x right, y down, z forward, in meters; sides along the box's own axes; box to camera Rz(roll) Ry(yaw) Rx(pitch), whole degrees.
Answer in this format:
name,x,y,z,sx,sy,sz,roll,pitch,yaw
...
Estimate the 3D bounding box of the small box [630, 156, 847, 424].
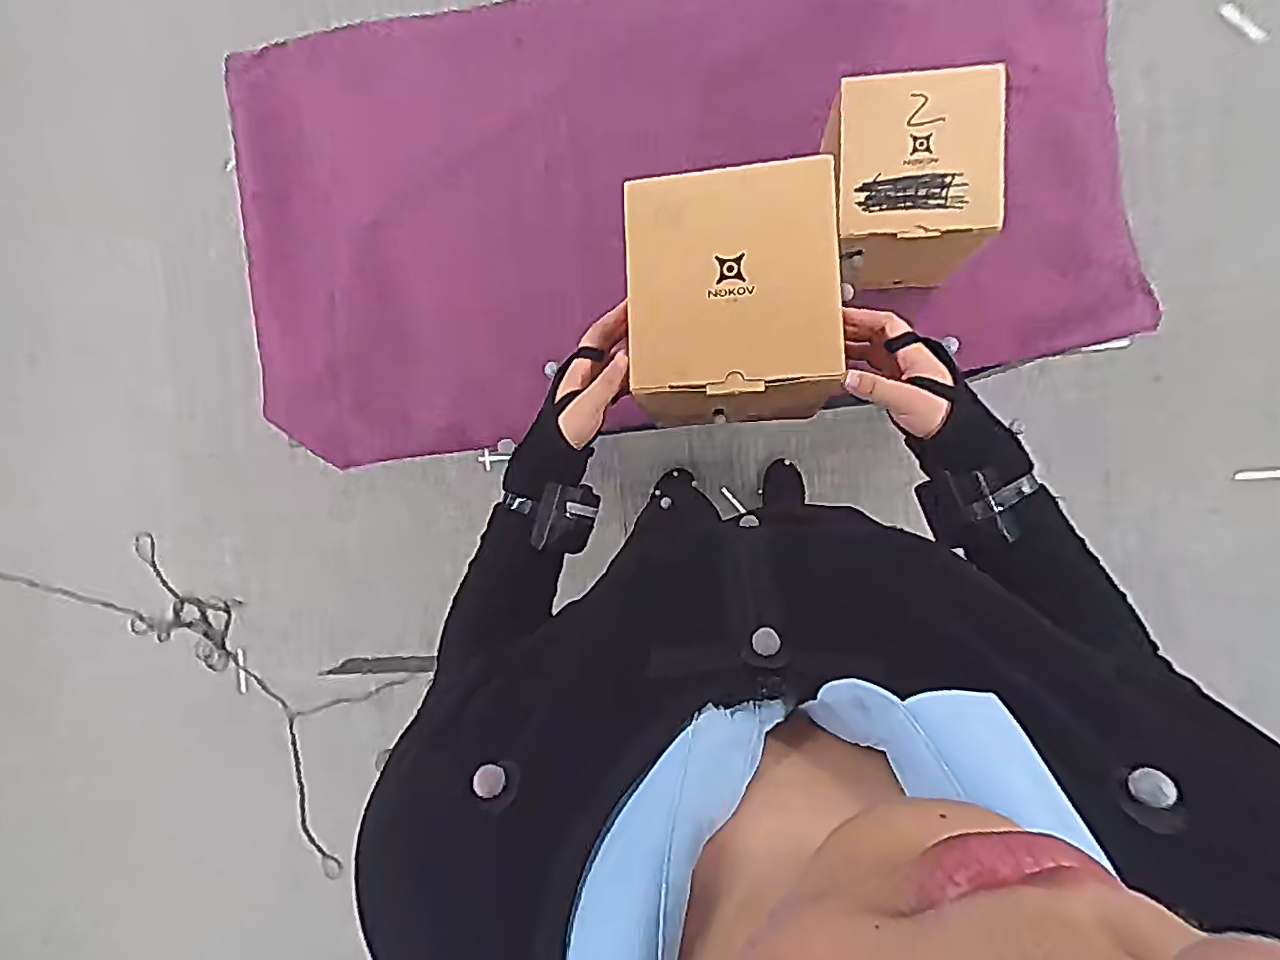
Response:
name,x,y,z,sx,sy,sz,roll,pitch,yaw
small box,0.084,-0.154,0.497,0.168,0.176,0.179,-2,86,9
